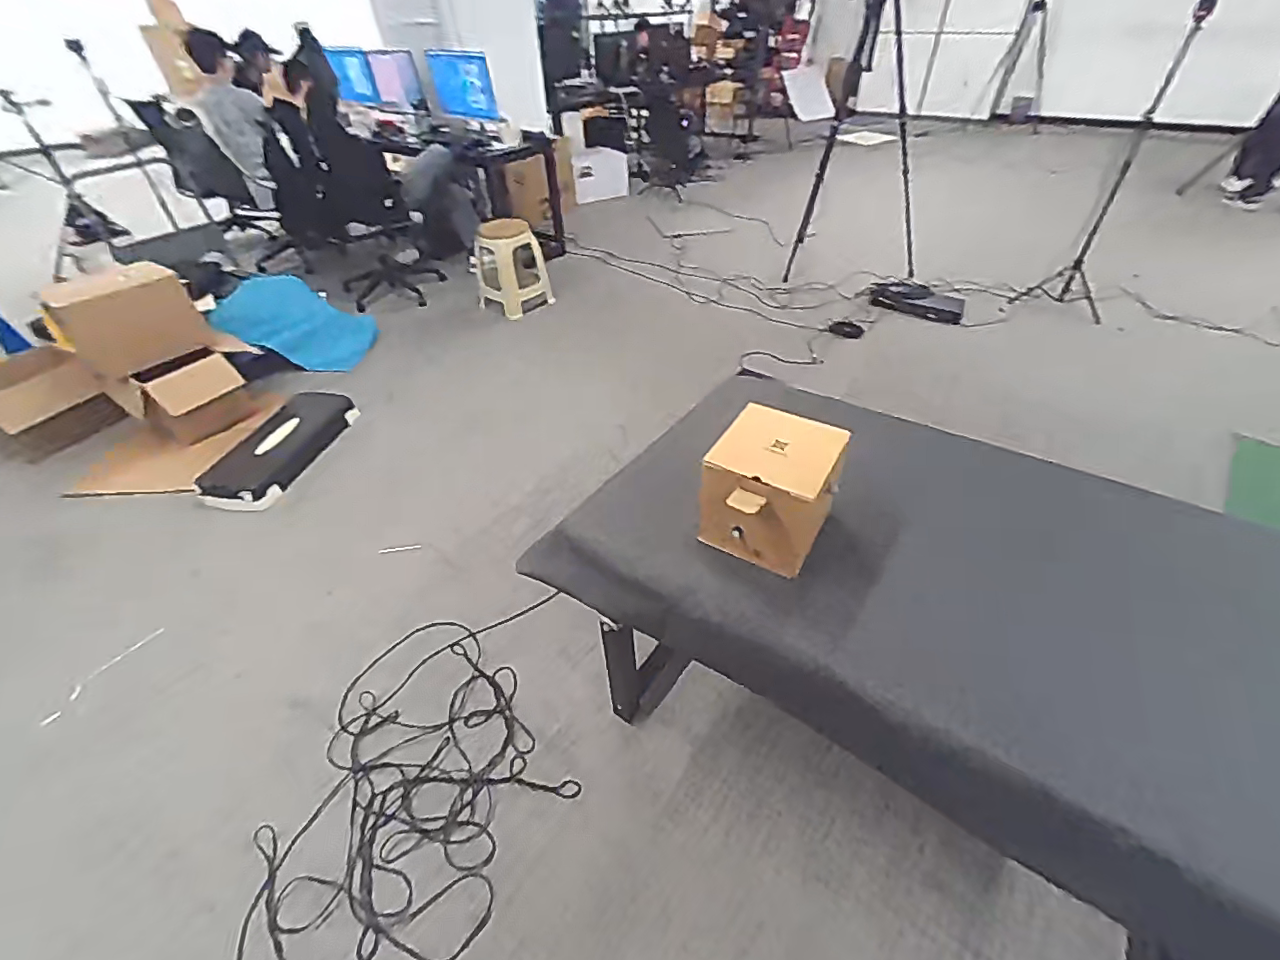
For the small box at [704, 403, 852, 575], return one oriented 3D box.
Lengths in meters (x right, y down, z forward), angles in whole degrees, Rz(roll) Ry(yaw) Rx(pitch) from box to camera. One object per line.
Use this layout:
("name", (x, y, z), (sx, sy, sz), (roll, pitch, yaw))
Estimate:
("small box", (0.207, 0.011, 0.844), (0.168, 0.176, 0.179), (22, 47, 24))
